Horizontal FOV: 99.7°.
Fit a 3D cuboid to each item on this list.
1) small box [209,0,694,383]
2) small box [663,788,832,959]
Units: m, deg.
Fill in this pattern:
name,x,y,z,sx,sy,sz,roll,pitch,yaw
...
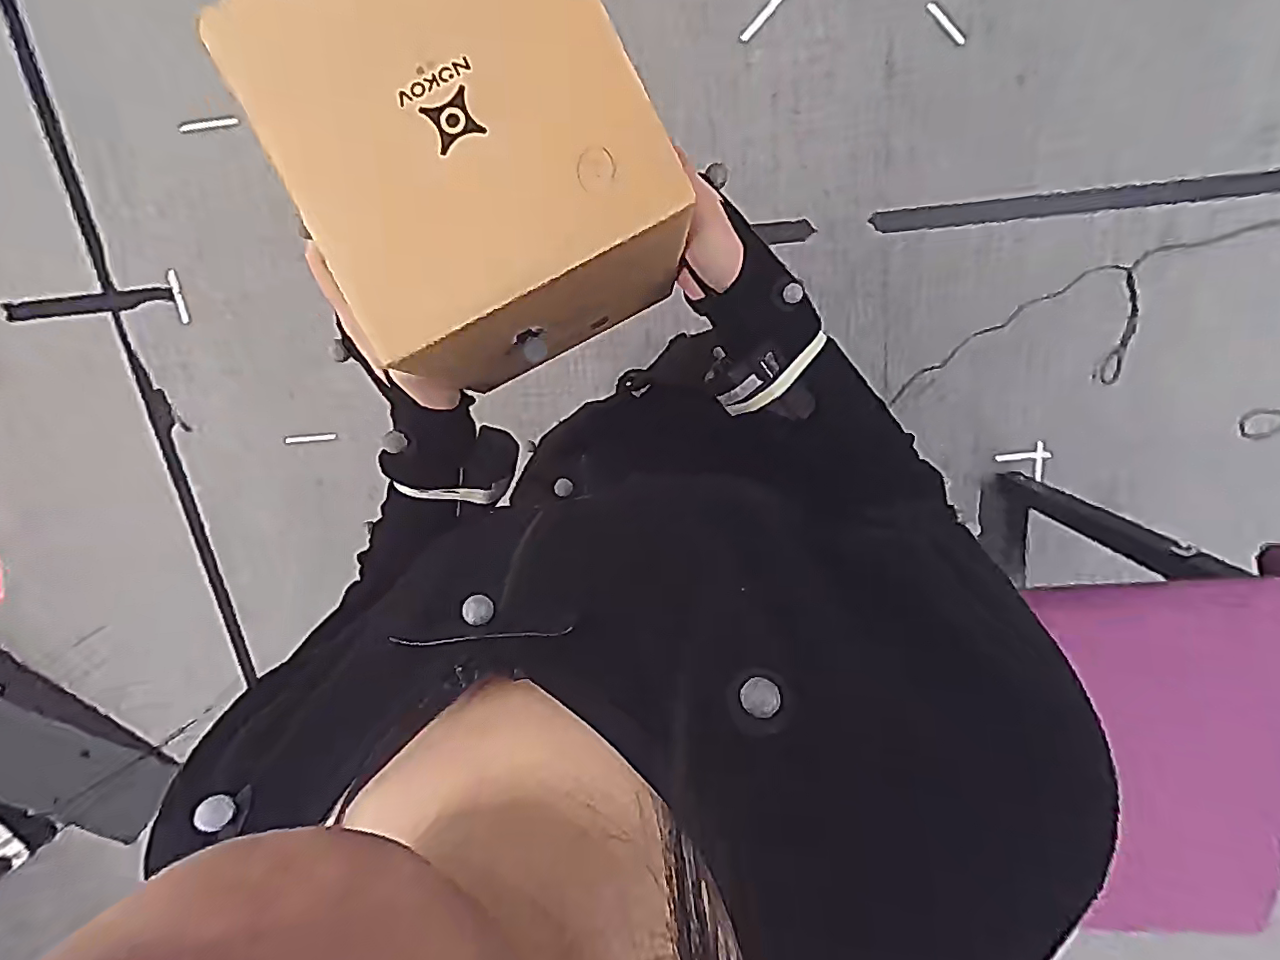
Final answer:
name,x,y,z,sx,sy,sz,roll,pitch,yaw
small box,-0.082,-0.169,0.322,0.168,0.176,0.179,-27,93,2
small box,0.111,0.498,0.628,0.168,0.176,0.179,0,107,3
